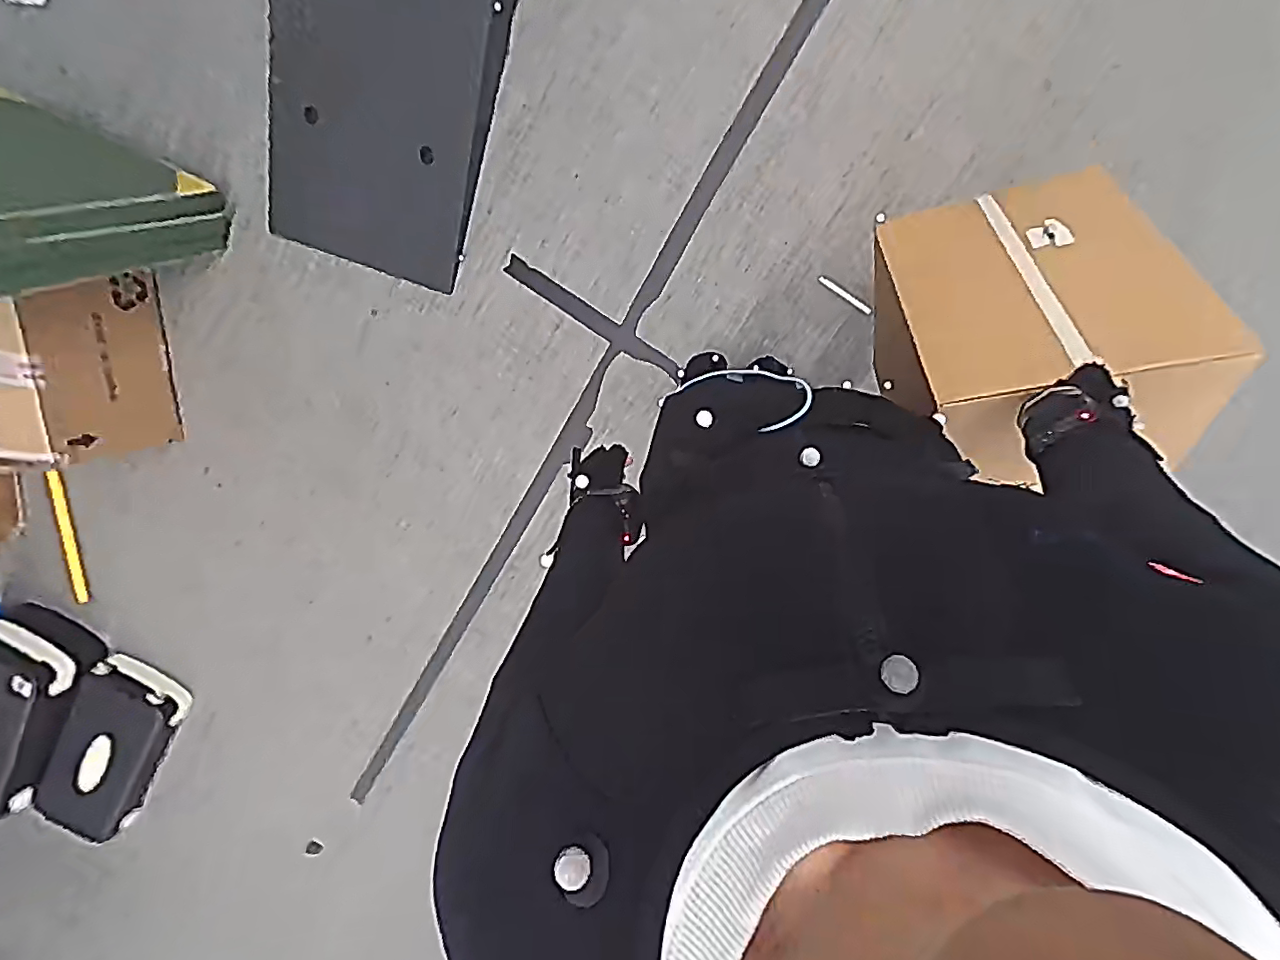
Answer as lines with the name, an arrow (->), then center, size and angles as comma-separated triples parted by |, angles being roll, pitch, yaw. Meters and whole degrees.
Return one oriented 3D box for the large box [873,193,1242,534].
large box -> 0.572, -0.173, 0.859 | 0.320, 0.408, 0.320 | -7, 142, 15
